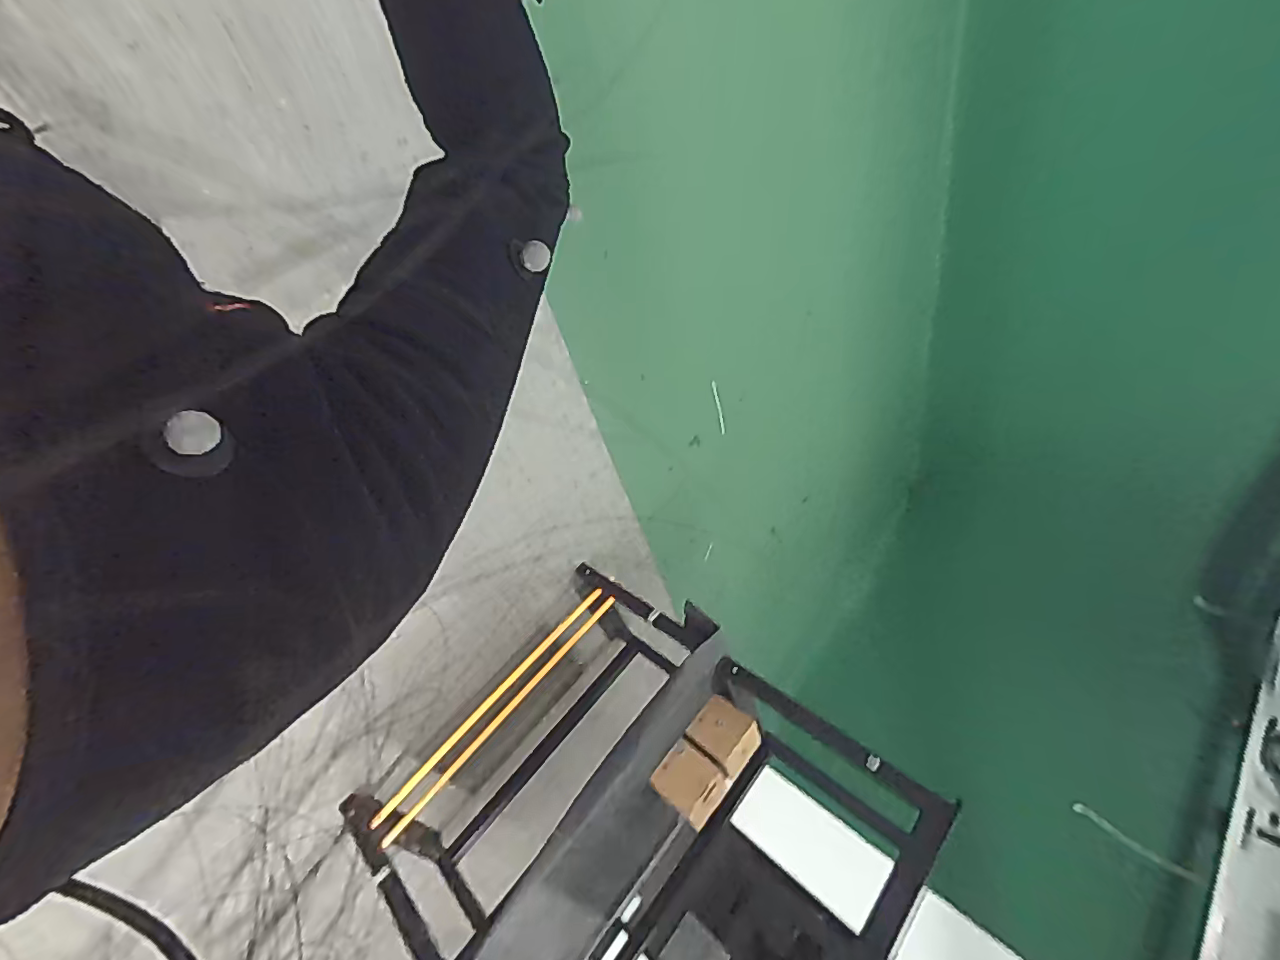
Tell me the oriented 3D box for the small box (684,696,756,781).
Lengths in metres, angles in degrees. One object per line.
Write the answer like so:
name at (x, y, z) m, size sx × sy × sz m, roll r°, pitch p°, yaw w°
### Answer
small box at (0.268, 0.863, 1.821) m, size 0.168 × 0.176 × 0.179 m, roll -41°, pitch 136°, yaw -25°
